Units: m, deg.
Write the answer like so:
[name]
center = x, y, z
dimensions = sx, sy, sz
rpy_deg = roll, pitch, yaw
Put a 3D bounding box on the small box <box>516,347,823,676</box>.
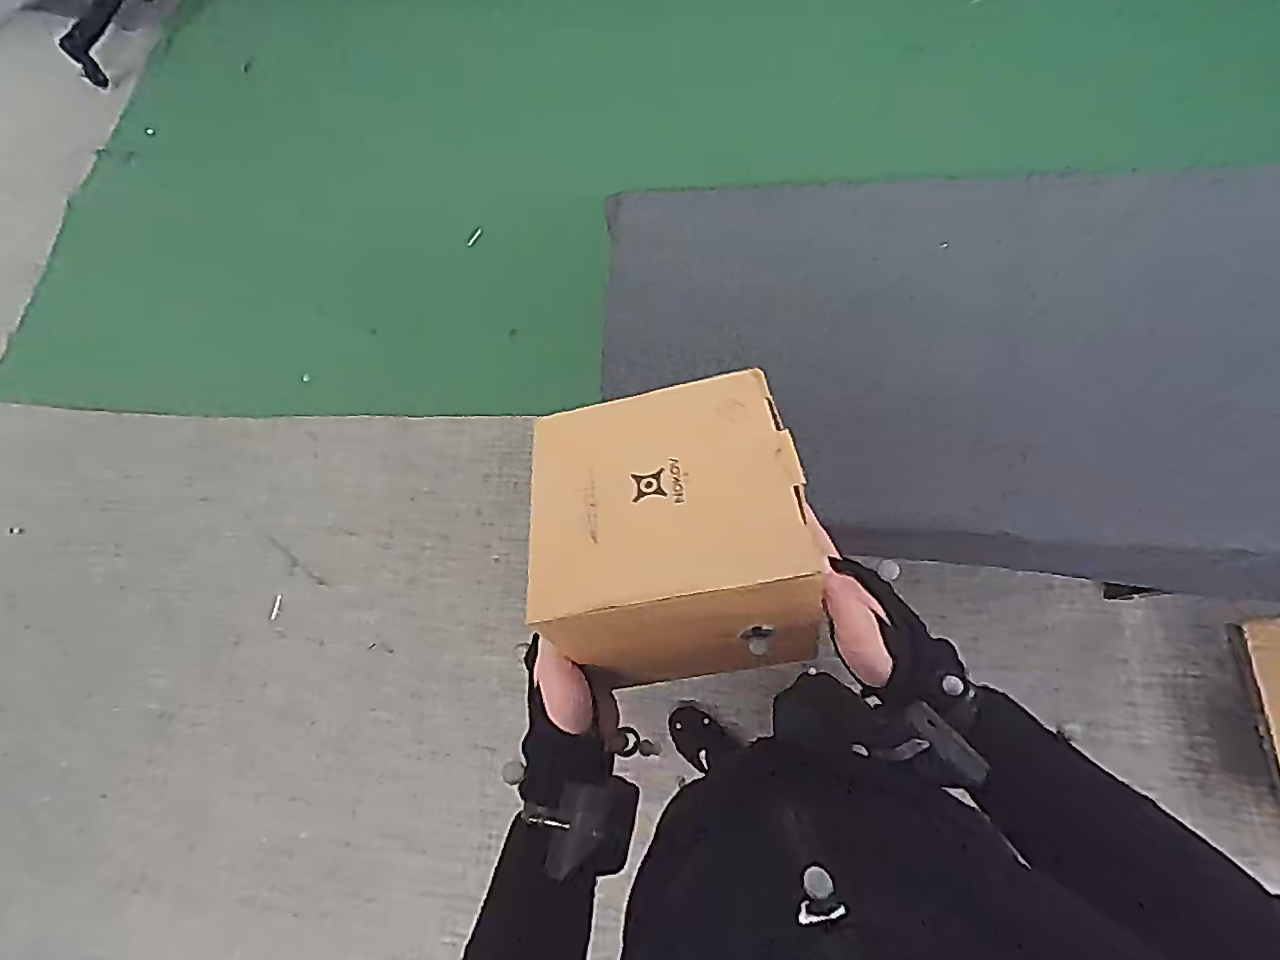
[small box]
center = 0.025, 0.034, 0.406
dimensions = 0.179, 0.176, 0.168
rpy_deg = -12, 54, 9
